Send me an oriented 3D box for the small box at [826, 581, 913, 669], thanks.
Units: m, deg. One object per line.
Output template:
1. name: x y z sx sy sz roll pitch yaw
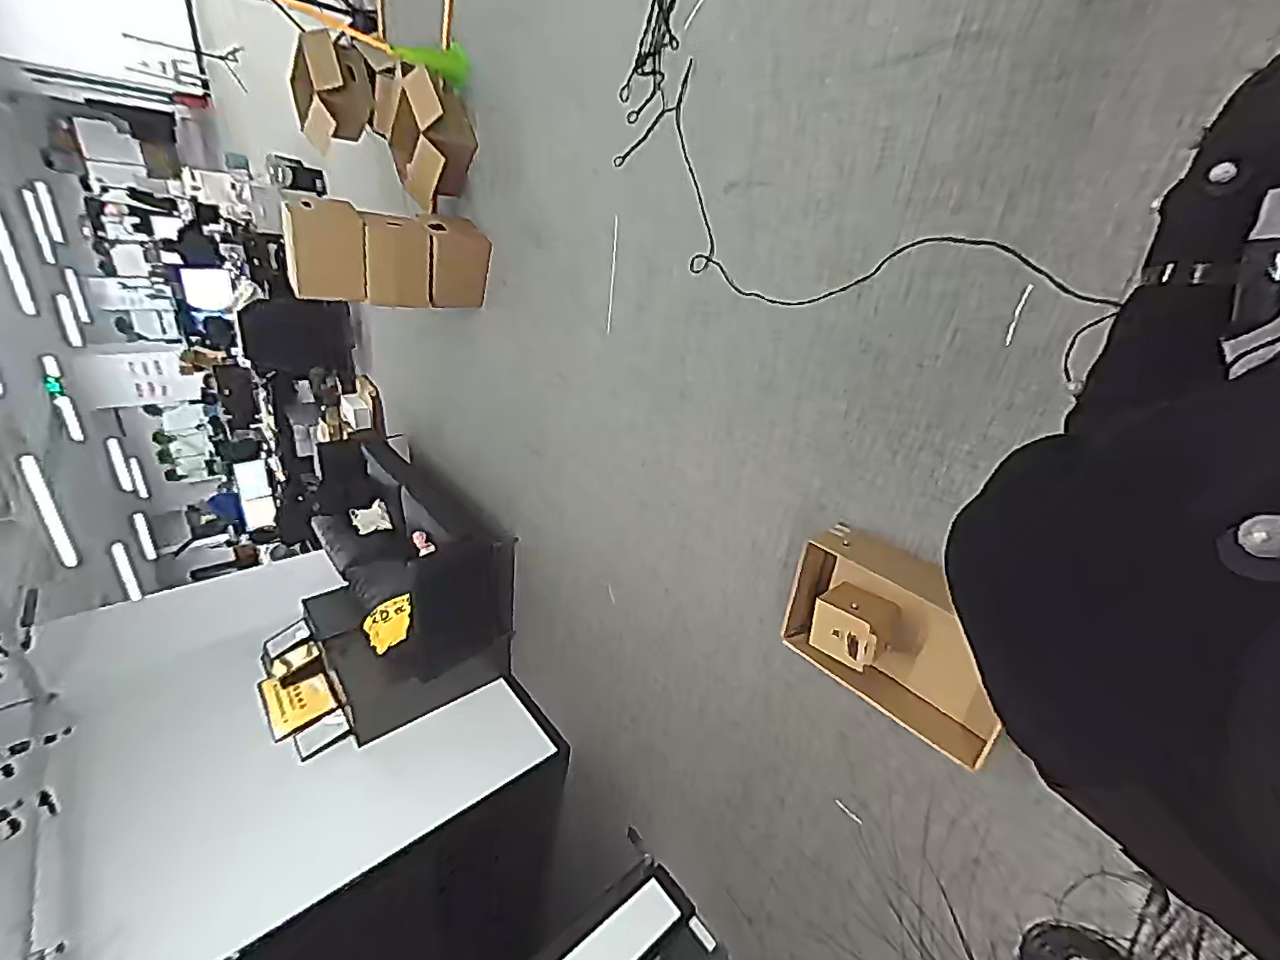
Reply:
1. small box: 0.689 0.424 1.623 0.179 0.176 0.168 23 119 46
